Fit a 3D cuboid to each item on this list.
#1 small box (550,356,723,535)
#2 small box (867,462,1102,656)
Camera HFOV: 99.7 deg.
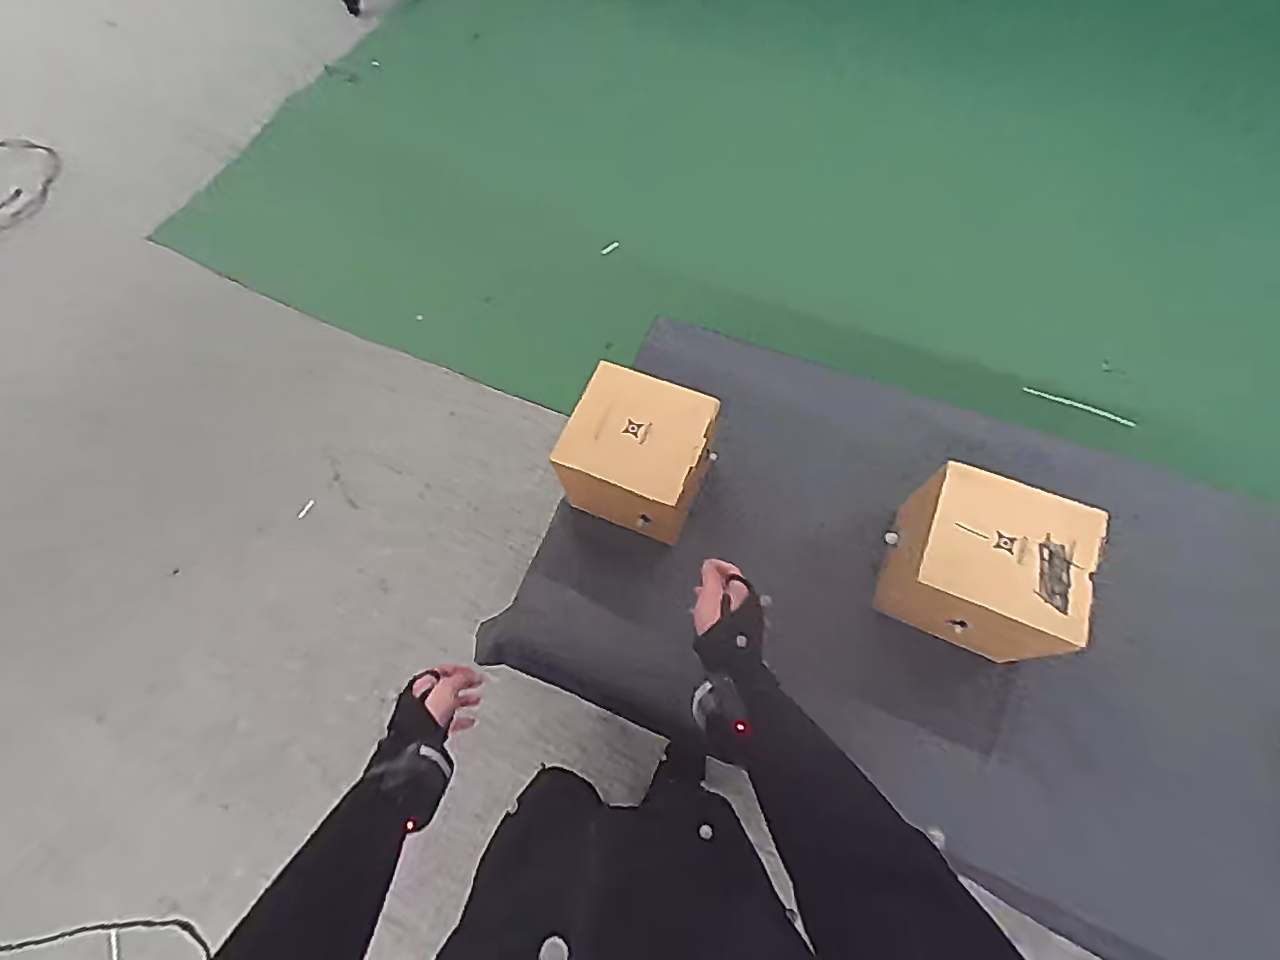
[{"bbox_3d":[0.000,-0.039,0.761,0.179,0.176,0.168,21,68,12],"label":"small box"},{"bbox_3d":[0.420,0.109,0.682,0.179,0.176,0.168,23,69,12],"label":"small box"}]
